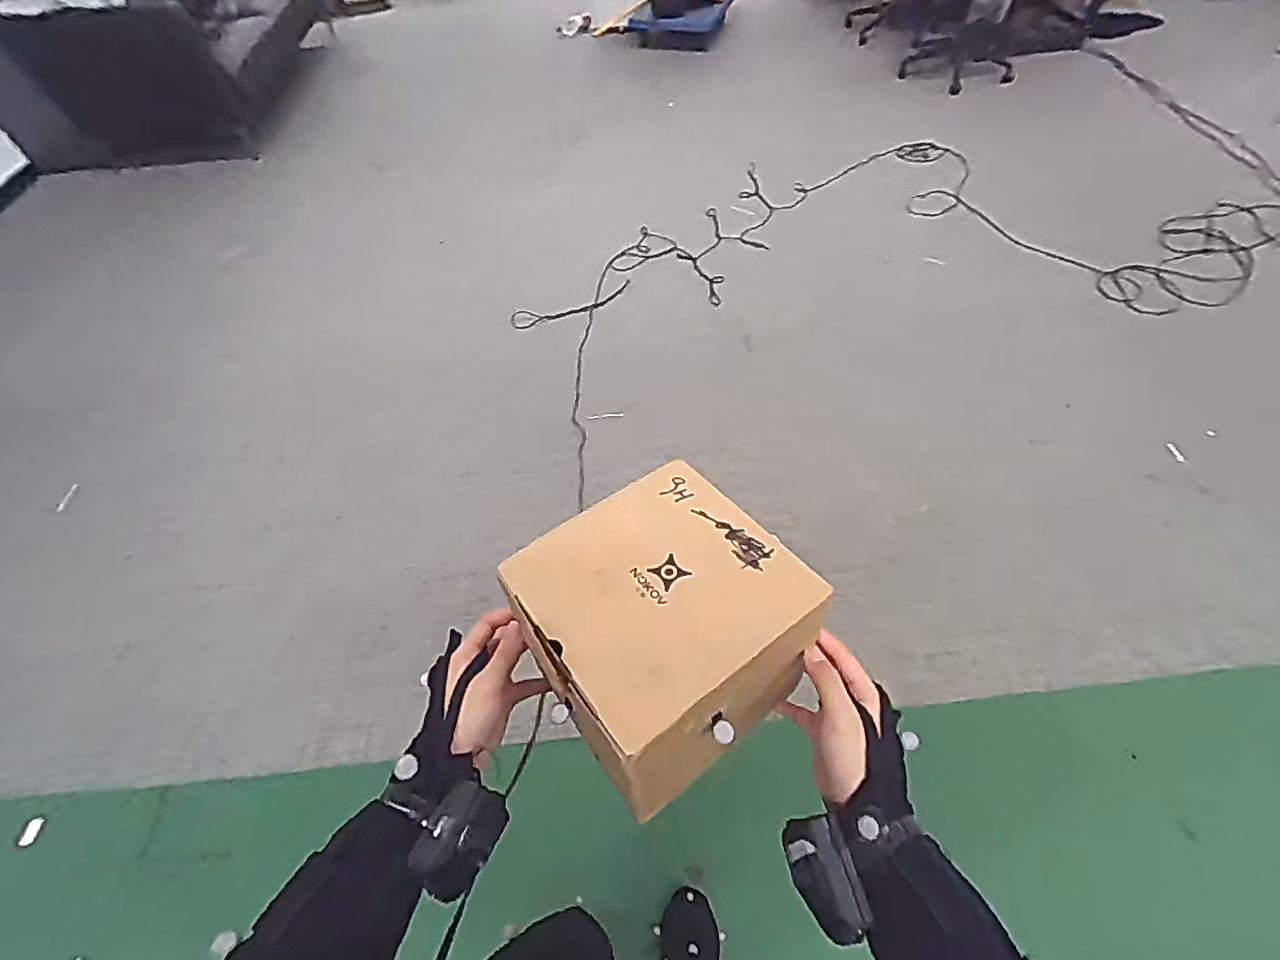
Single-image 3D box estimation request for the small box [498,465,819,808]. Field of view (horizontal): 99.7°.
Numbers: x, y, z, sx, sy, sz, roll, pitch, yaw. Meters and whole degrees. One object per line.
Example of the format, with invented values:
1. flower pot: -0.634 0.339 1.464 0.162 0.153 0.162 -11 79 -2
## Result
1. small box: 0.016 0.127 0.442 0.179 0.176 0.168 -31 52 -22
